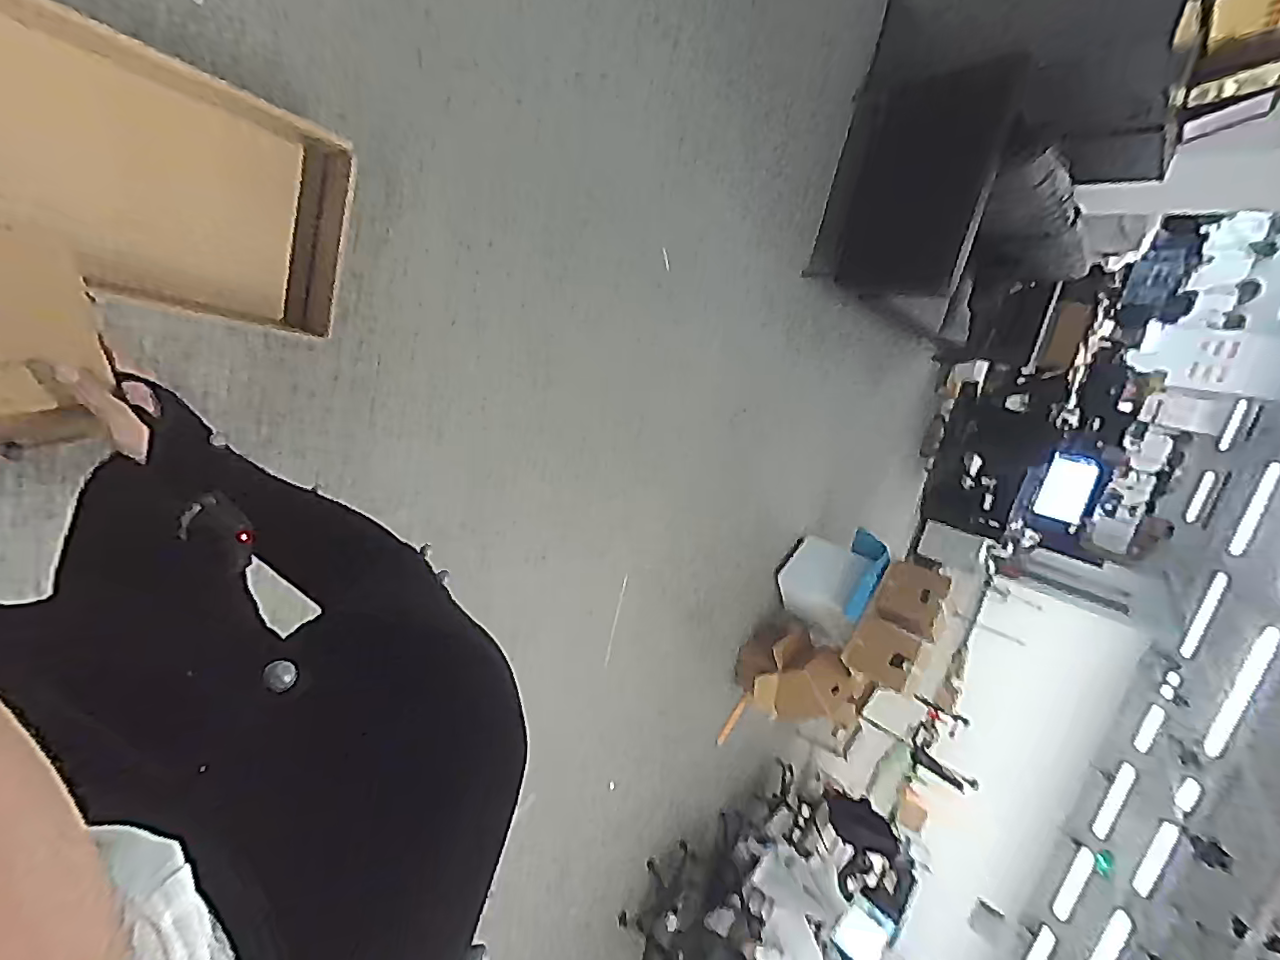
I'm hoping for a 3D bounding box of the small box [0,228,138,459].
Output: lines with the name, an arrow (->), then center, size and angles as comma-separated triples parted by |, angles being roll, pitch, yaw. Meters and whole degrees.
small box -> -0.638, -0.126, 0.535 | 0.168, 0.176, 0.179 | -21, 96, -39
